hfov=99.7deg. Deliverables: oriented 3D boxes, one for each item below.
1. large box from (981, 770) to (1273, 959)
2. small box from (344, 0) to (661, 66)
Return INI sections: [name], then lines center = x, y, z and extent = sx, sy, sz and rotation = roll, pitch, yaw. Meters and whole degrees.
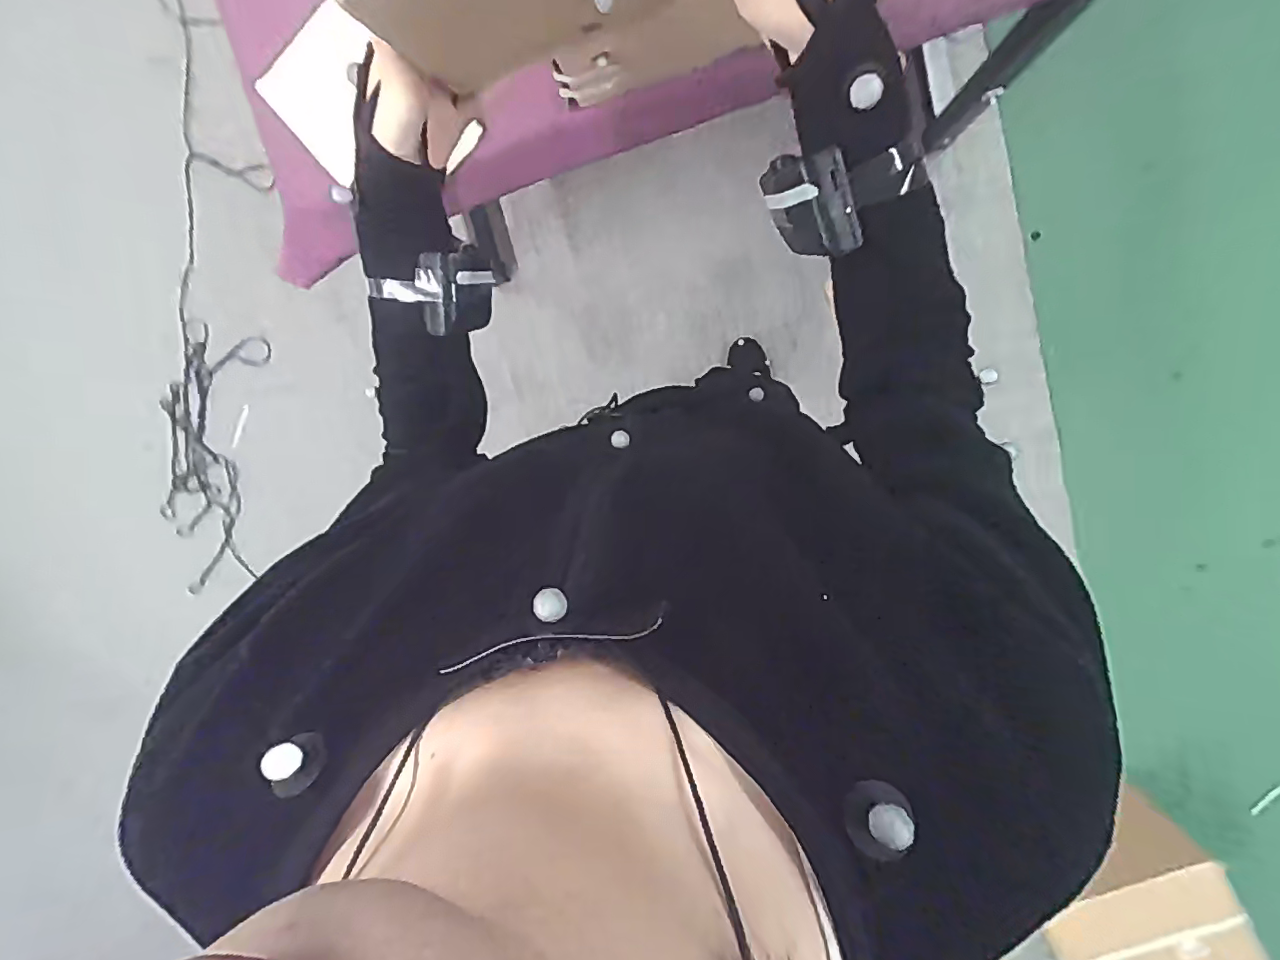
[large box]
center = 1.202, 1.040, 1.386
extent = 0.408, 0.320, 0.320
rotation = -29, 95, 10
[small box]
center = -0.079, -0.341, 0.266
extent = 0.168, 0.176, 0.179
rotation = -15, 112, 8
